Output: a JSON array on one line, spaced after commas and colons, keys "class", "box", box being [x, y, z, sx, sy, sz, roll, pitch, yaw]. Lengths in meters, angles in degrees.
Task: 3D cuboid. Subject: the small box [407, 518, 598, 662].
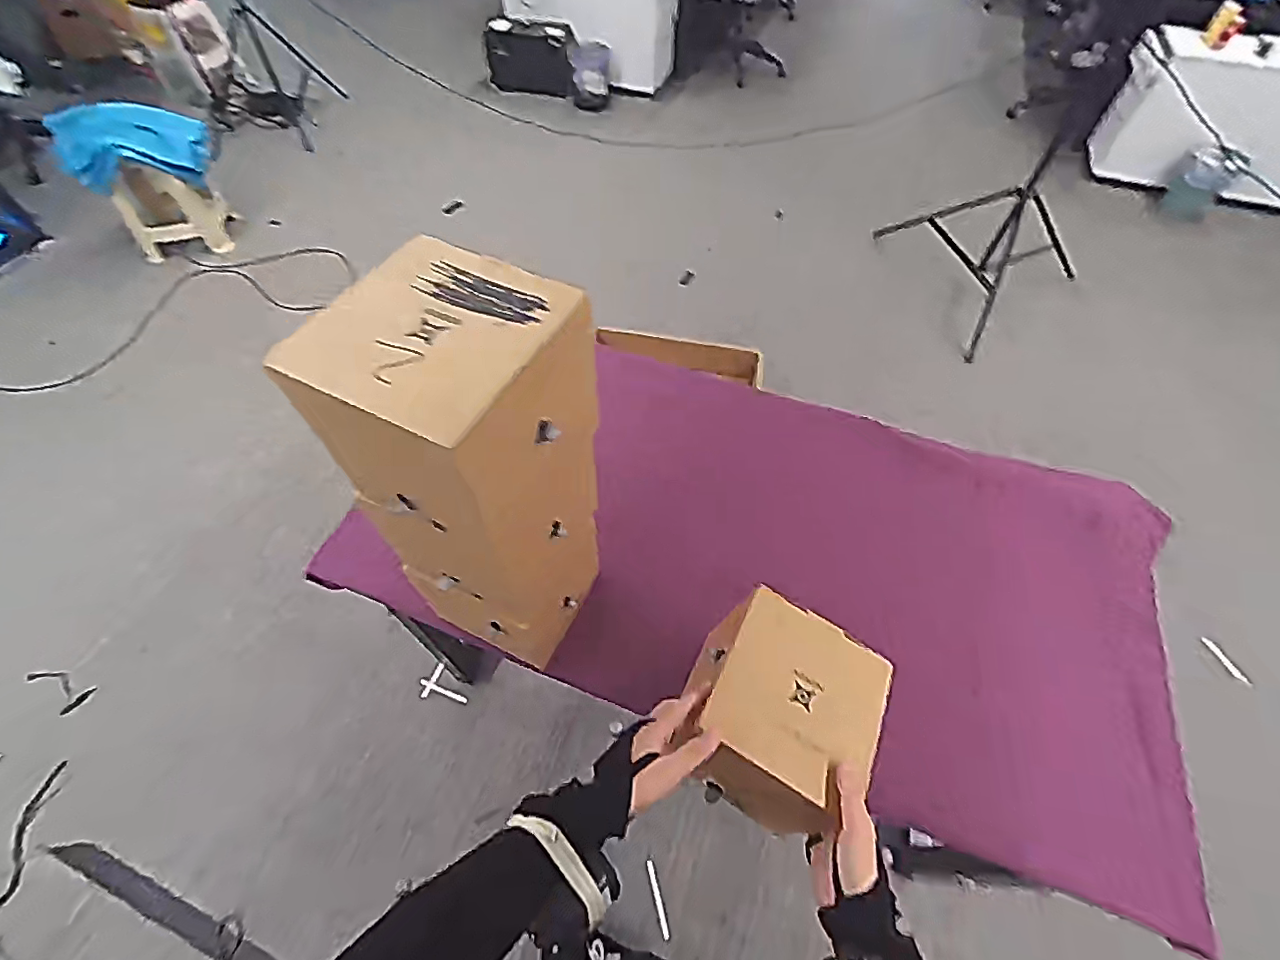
[{"class": "small box", "box": [-0.167, 0.123, 0.728, 0.179, 0.176, 0.168, 22, 57, 14]}]

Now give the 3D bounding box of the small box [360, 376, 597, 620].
[{"class": "small box", "box": [-0.158, 0.024, 0.597, 0.168, 0.176, 0.179, 22, 58, 13]}]

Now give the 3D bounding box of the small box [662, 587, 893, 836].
[{"class": "small box", "box": [0.143, 0.257, 0.597, 0.168, 0.176, 0.179, 30, 53, 6]}]
